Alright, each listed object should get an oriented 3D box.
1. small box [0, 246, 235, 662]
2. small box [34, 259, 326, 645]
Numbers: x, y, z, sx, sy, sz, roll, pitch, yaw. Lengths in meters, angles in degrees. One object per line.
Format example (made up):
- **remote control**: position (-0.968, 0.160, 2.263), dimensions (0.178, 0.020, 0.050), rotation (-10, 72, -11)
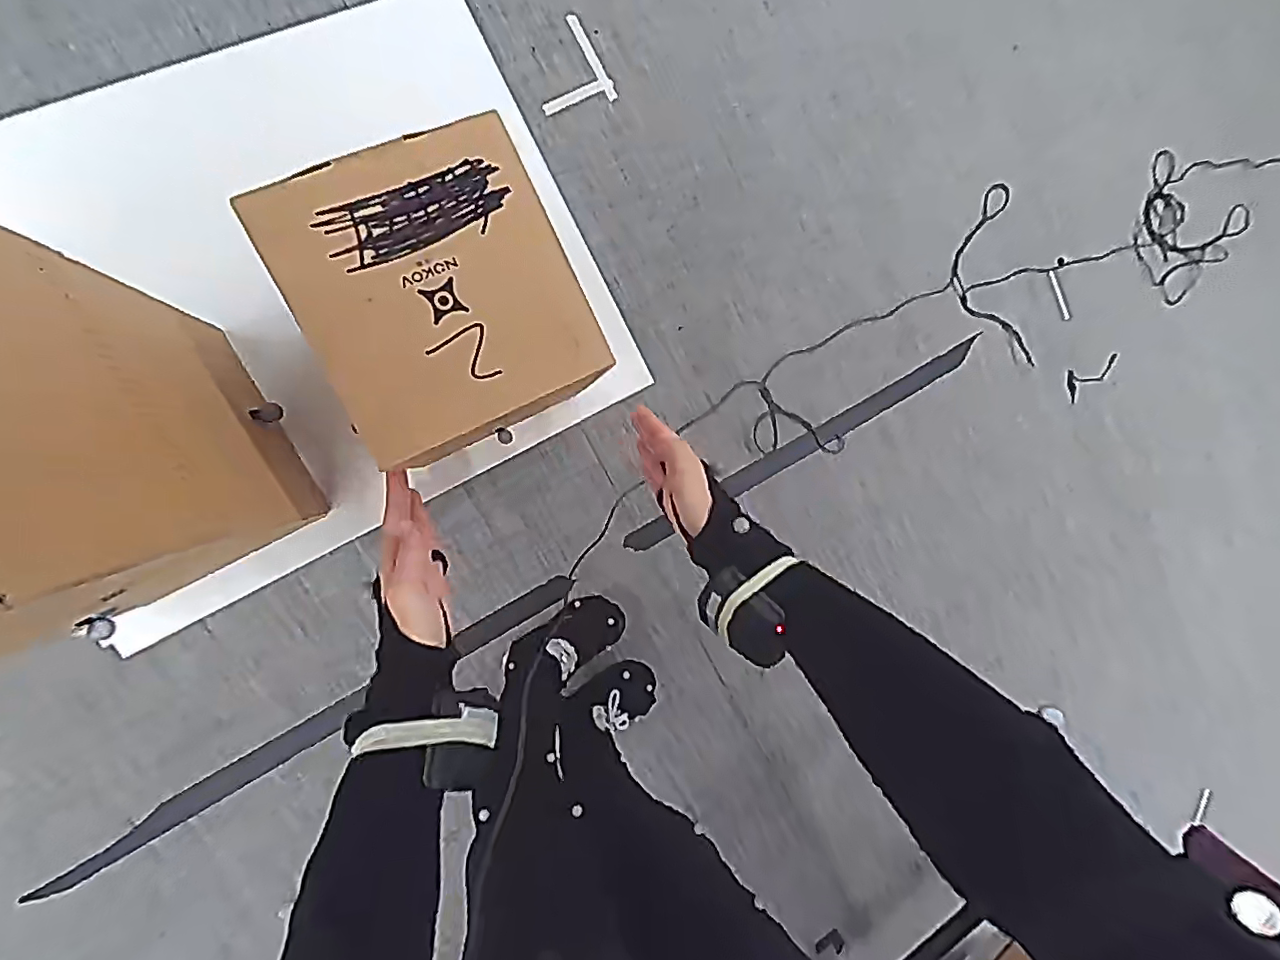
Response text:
- **small box**: position (-0.310, 0.000, 0.203), dimensions (0.168, 0.176, 0.179), rotation (-30, 99, -11)
- **small box**: position (-0.352, -0.008, 0.360), dimensions (0.168, 0.176, 0.179), rotation (-29, 98, -12)
